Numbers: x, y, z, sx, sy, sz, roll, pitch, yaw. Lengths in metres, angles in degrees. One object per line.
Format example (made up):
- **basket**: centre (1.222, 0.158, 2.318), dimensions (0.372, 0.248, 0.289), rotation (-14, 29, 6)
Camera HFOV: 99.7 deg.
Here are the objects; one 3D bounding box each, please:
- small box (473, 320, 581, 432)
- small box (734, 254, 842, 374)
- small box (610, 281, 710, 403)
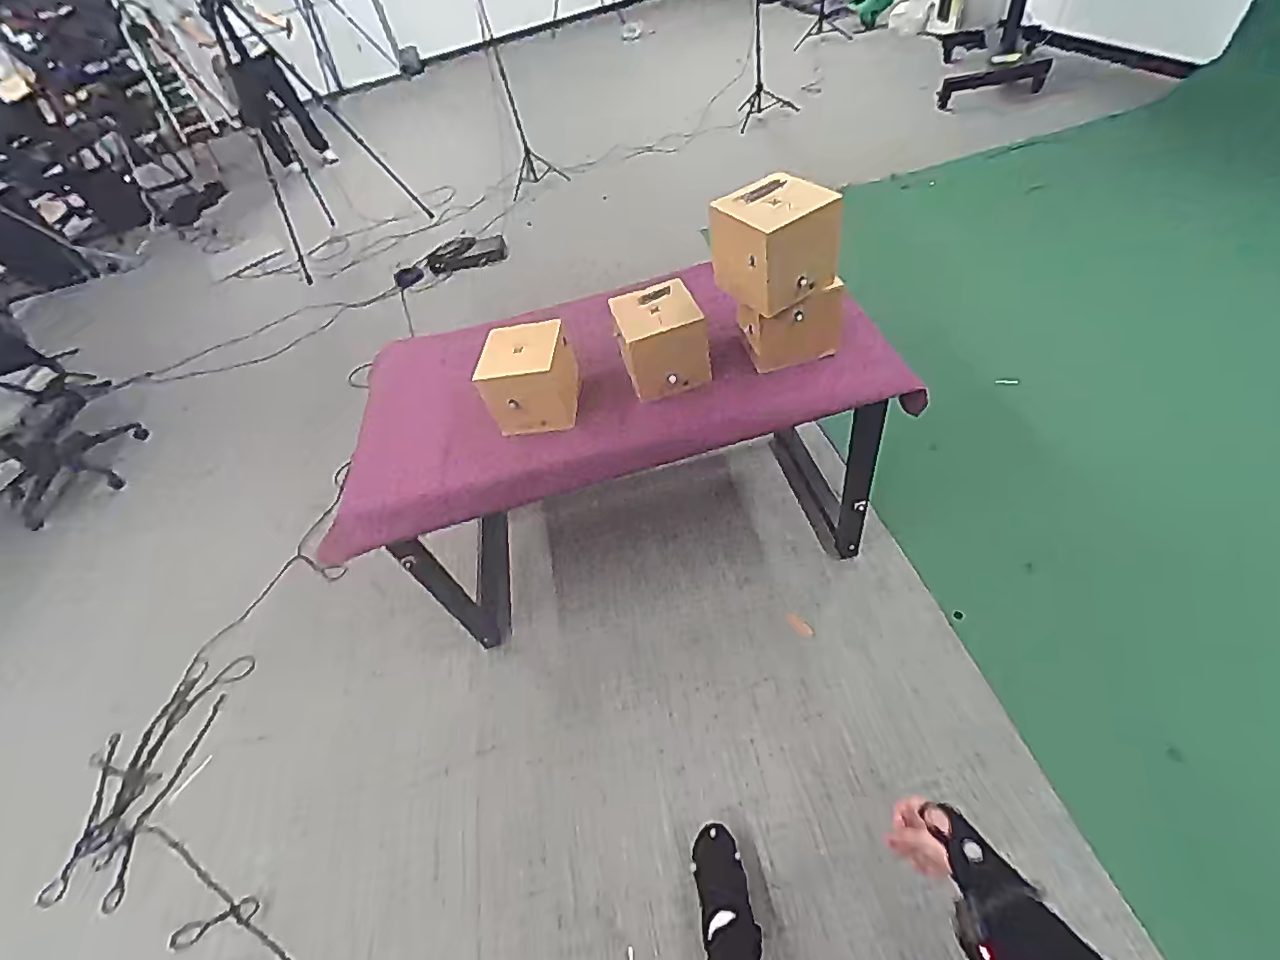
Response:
- **small box**: centre (-0.235, -0.216, 1.171), dimensions (0.168, 0.176, 0.179), rotation (-5, 48, 10)
- **small box**: centre (0.311, -0.349, 1.152), dimensions (0.179, 0.176, 0.168), rotation (-14, 48, 2)
- **small box**: centre (0.045, -0.296, 1.171), dimensions (0.168, 0.176, 0.179), rotation (-18, 49, -2)
